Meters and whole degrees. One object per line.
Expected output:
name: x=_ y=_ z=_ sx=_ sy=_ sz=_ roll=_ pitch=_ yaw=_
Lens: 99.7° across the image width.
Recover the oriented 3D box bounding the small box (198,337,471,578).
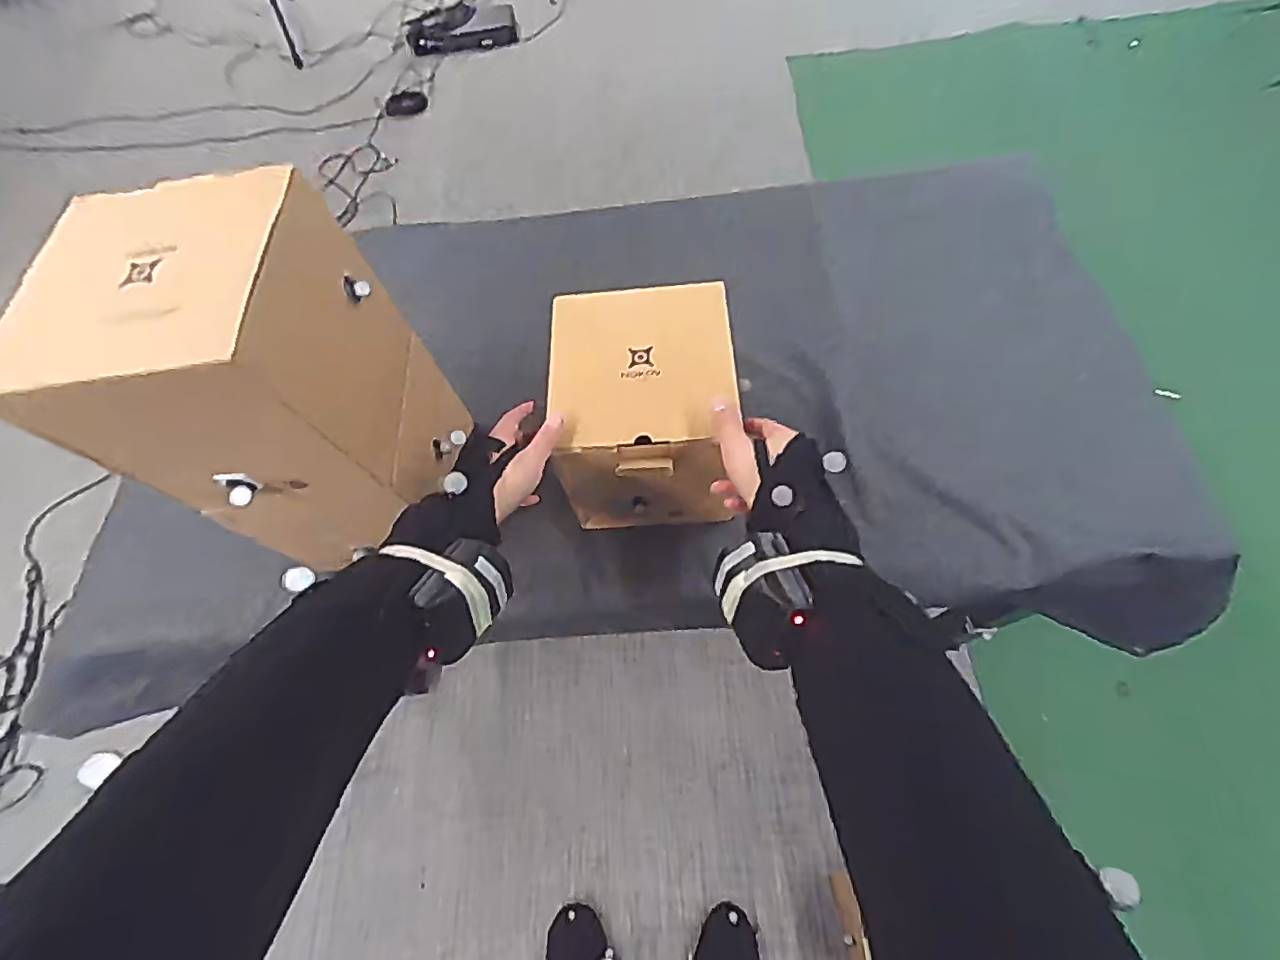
small box: x=-0.282 y=-0.016 z=0.549 sx=0.168 sy=0.176 sz=0.179 roll=-7 pitch=63 yaw=2

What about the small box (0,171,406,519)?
small box: x=-0.297 y=-0.089 z=0.406 sx=0.168 sy=0.176 sz=0.179 roll=-8 pitch=63 yaw=3

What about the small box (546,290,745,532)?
small box: x=0.008 y=-0.062 z=0.546 sx=0.168 sy=0.176 sz=0.179 roll=-4 pitch=63 yaw=3
